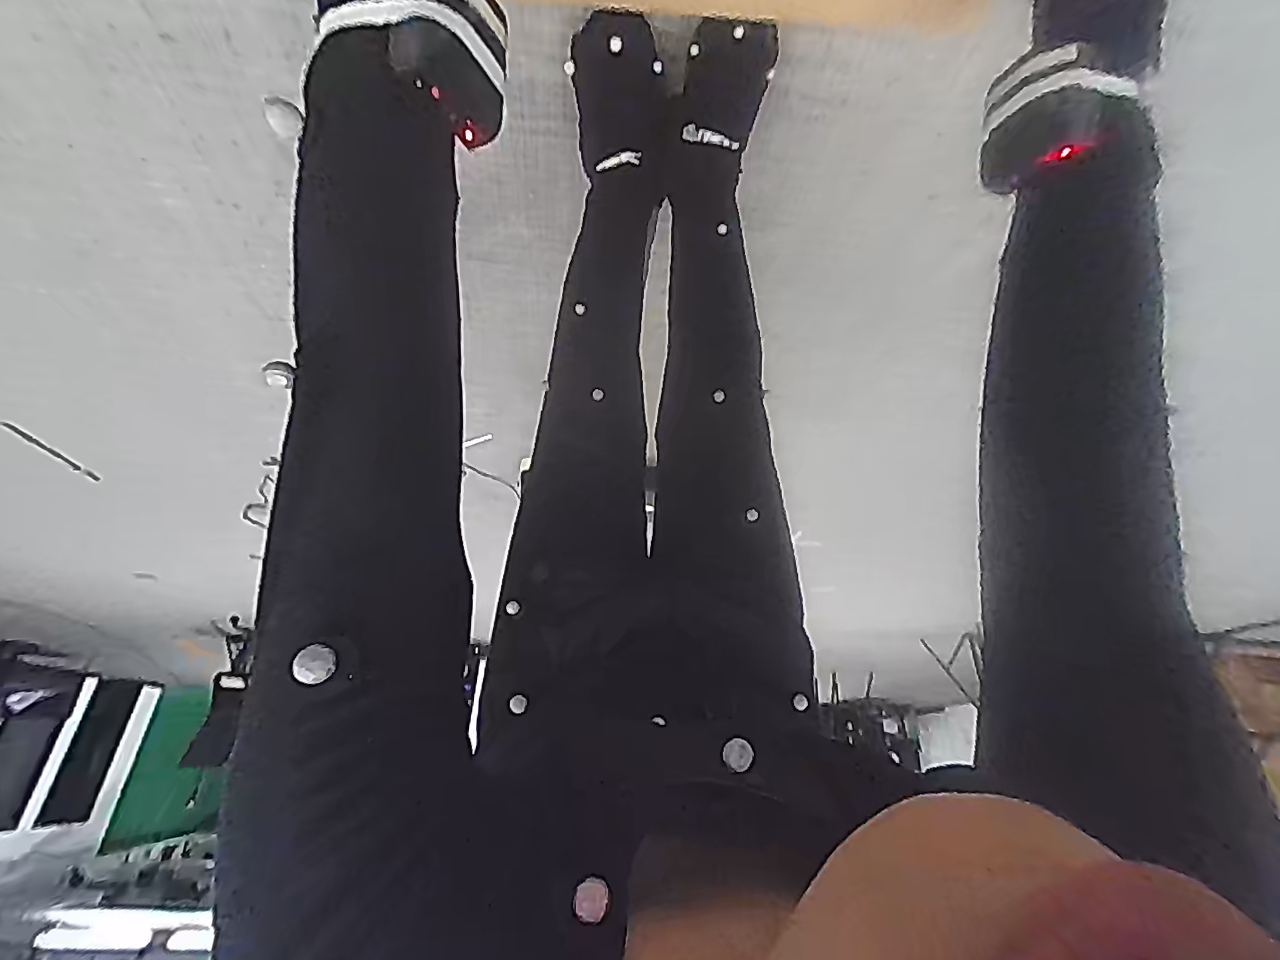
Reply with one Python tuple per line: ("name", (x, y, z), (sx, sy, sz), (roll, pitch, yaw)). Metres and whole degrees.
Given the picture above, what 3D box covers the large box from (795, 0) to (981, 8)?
("large box", (0.073, -0.571, 0.342), (0.408, 0.320, 0.320), (2, 156, -2))
